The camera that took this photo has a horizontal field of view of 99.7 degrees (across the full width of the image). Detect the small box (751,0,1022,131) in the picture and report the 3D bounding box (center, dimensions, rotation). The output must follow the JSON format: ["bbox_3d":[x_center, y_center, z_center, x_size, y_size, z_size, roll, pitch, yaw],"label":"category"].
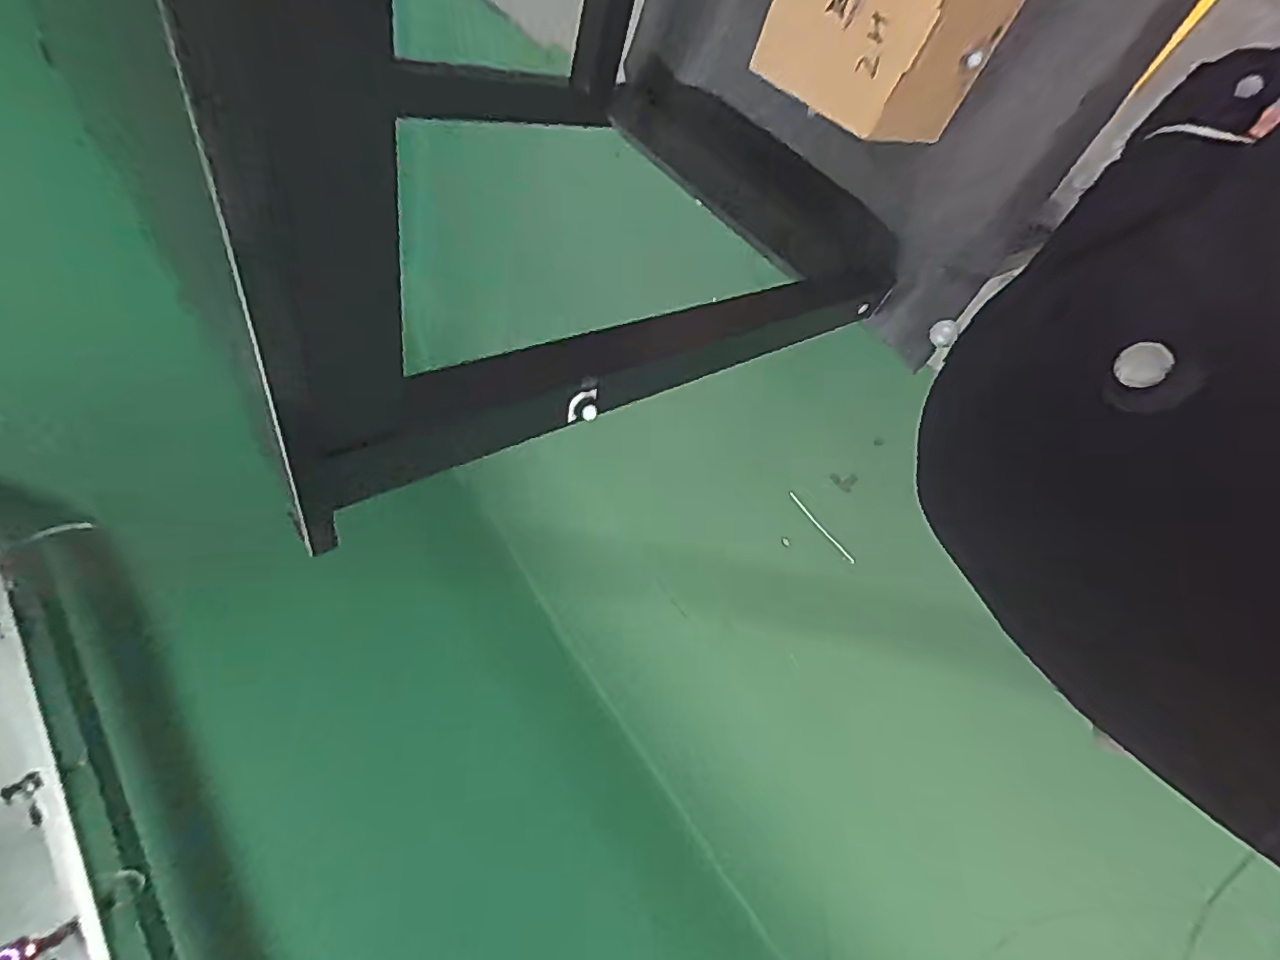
[{"bbox_3d":[0.257,-0.486,0.563,0.179,0.176,0.168,48,142,21],"label":"small box"}]
